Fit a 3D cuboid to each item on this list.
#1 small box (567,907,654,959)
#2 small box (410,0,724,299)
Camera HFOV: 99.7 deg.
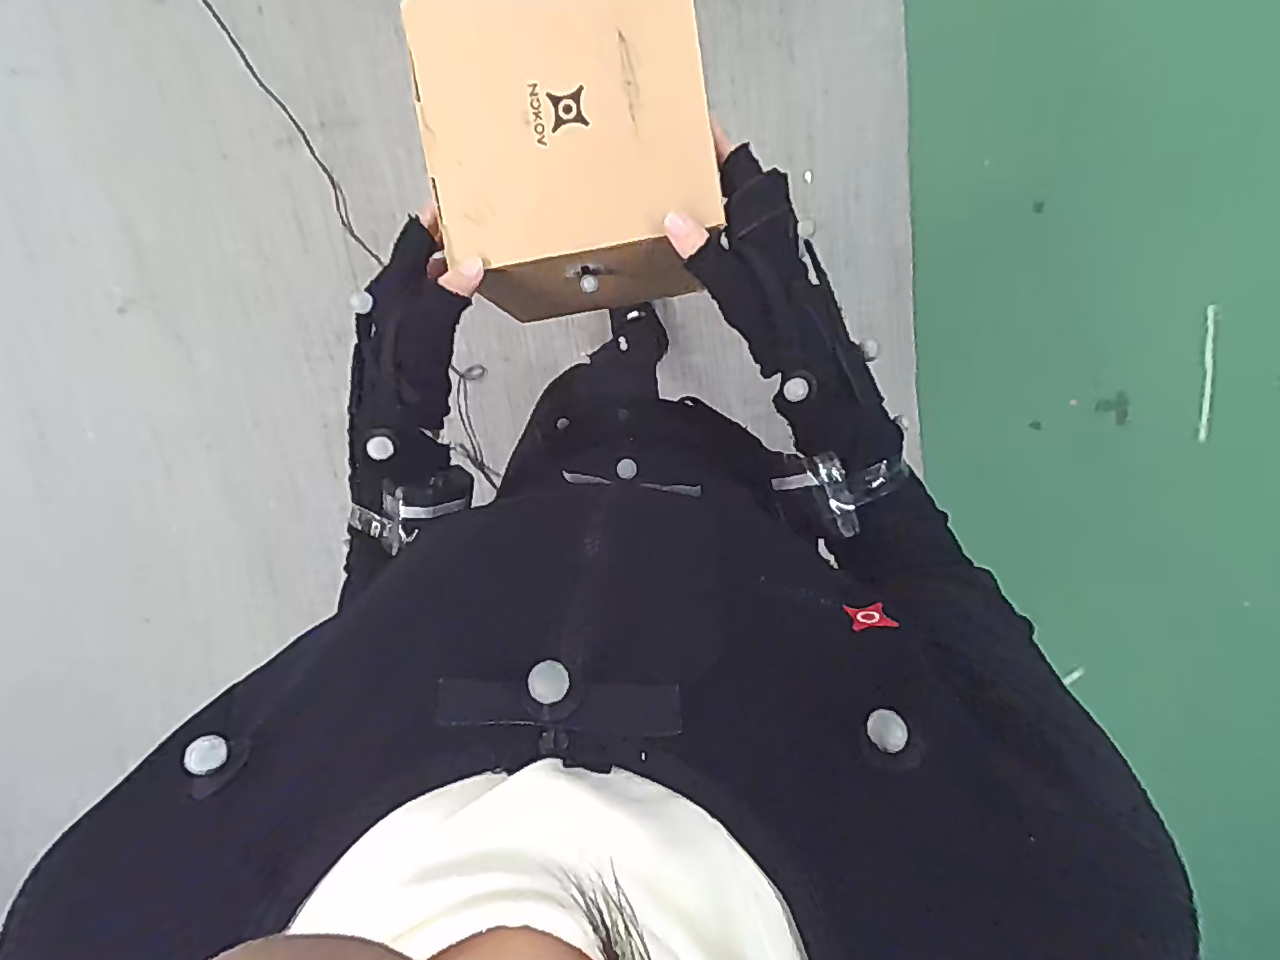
[{"bbox_3d":[-0.067,1.125,1.234,0.179,0.176,0.168,-9,100,4],"label":"small box"},{"bbox_3d":[-0.041,-0.248,0.410,0.179,0.176,0.168,-9,96,3],"label":"small box"}]
